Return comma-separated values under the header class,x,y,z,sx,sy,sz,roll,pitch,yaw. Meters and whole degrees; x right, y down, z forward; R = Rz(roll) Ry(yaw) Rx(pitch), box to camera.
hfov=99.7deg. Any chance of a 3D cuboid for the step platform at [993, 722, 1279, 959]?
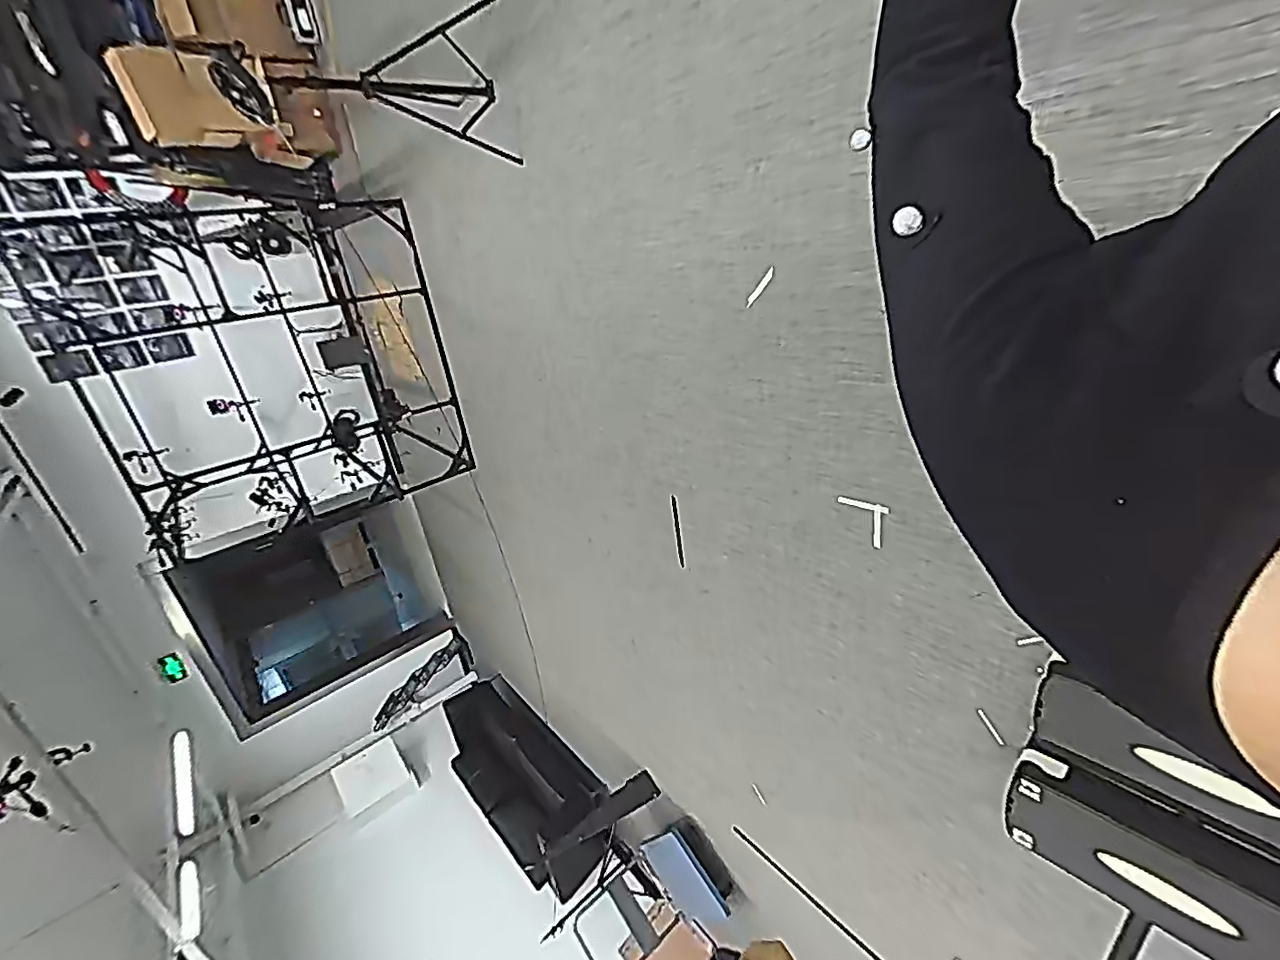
class,x,y,z,sx,sy,sz,roll,pitch,yaw
step platform,1.302,0.936,1.372,0.684,0.204,0.286,19,125,49
